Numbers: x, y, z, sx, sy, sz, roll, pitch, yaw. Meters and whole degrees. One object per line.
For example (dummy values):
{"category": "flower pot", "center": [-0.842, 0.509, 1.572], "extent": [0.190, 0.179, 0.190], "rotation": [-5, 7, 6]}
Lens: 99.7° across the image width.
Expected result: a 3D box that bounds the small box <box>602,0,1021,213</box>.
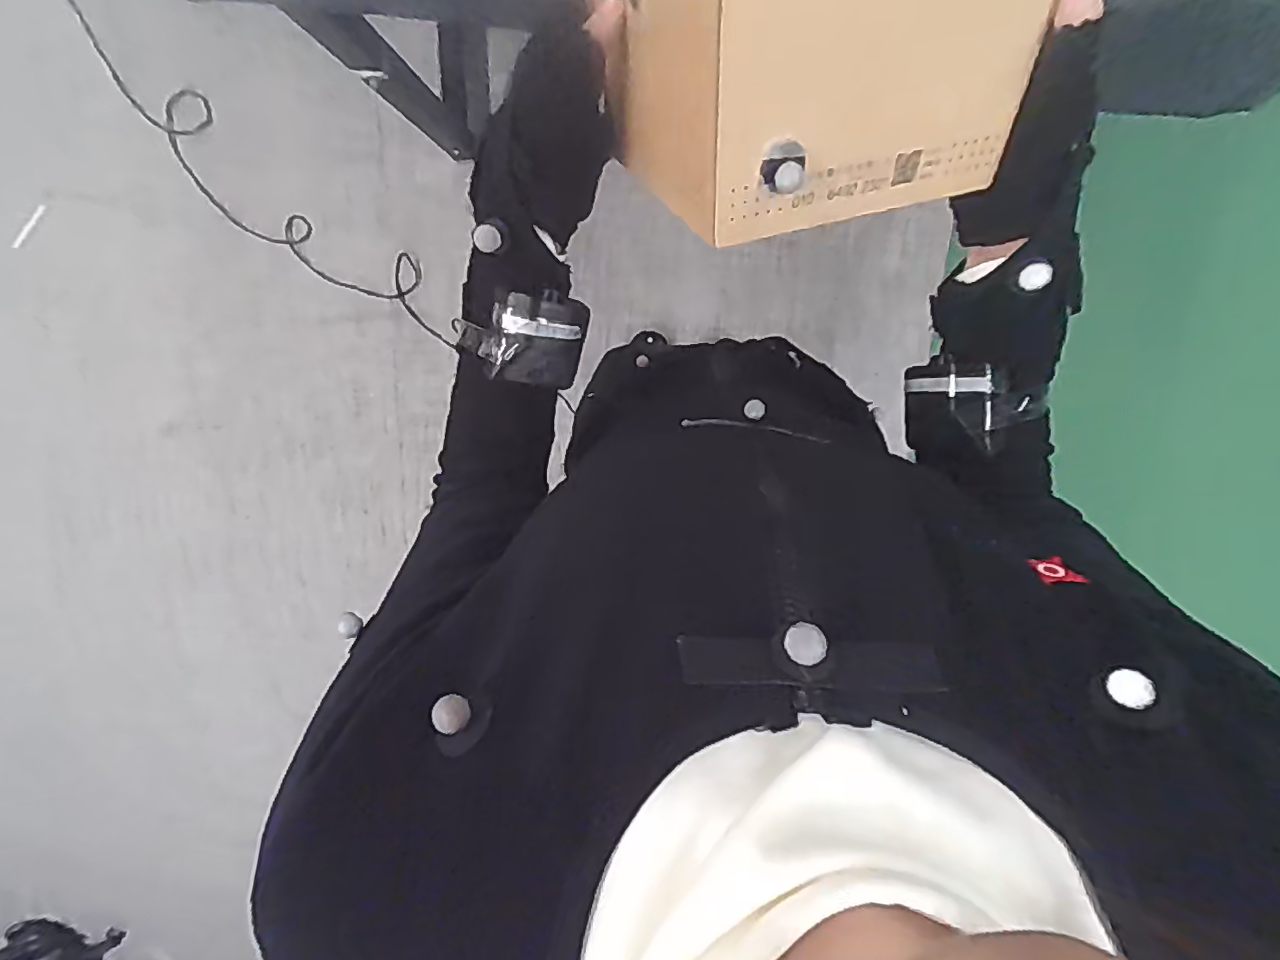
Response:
{"category": "small box", "center": [0.079, -0.258, 0.288], "extent": [0.168, 0.179, 0.176], "rotation": [-16, 135, -11]}
